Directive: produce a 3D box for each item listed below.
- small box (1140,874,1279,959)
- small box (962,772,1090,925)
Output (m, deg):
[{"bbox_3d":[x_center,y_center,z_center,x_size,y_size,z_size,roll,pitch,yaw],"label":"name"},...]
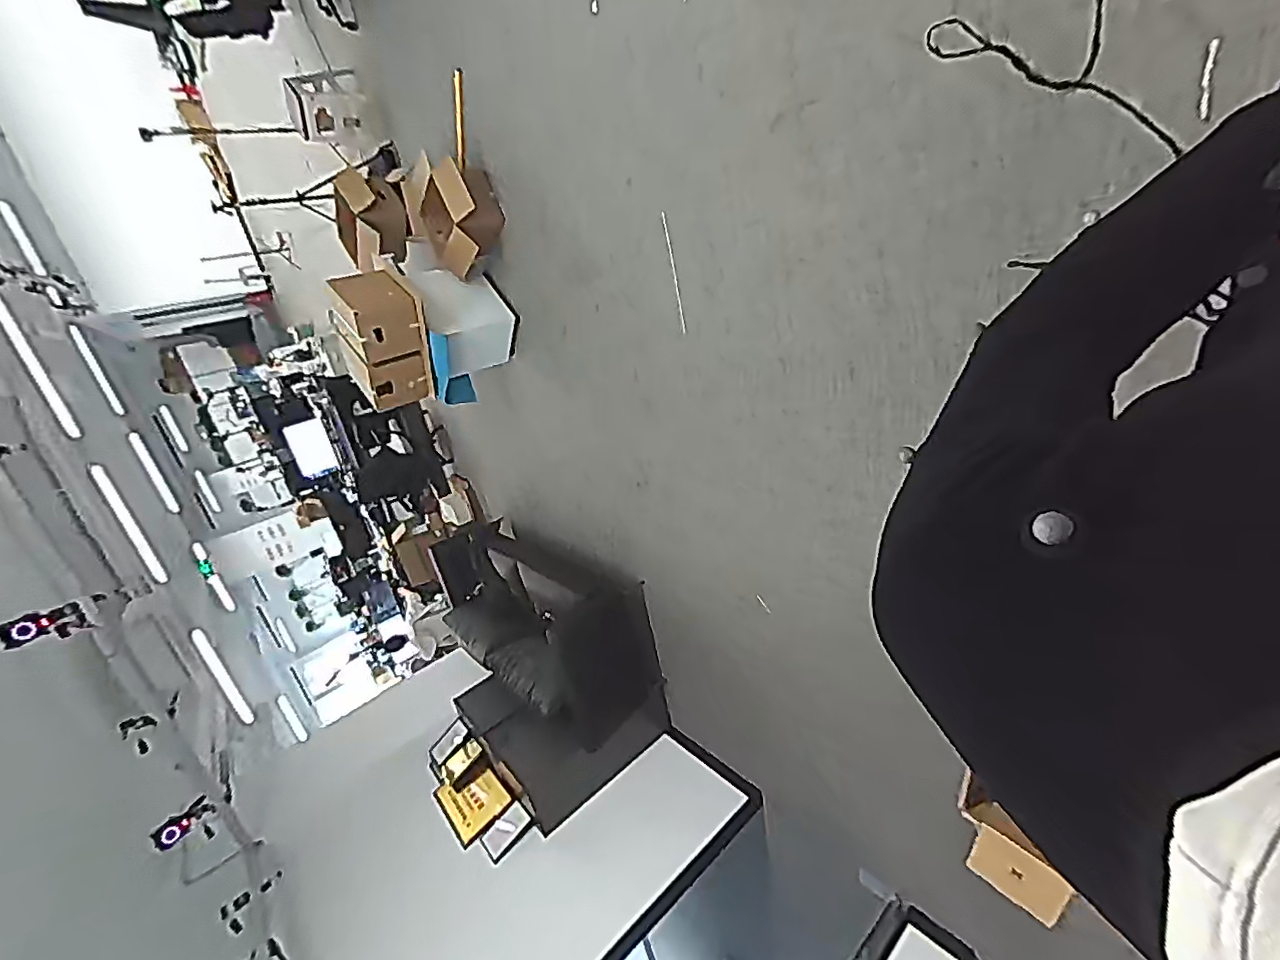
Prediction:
[{"bbox_3d":[1.021,0.866,0.960,0.168,0.176,0.179,18,127,46],"label":"small box"},{"bbox_3d":[0.829,0.783,1.164,0.168,0.176,0.179,25,131,42],"label":"small box"}]
